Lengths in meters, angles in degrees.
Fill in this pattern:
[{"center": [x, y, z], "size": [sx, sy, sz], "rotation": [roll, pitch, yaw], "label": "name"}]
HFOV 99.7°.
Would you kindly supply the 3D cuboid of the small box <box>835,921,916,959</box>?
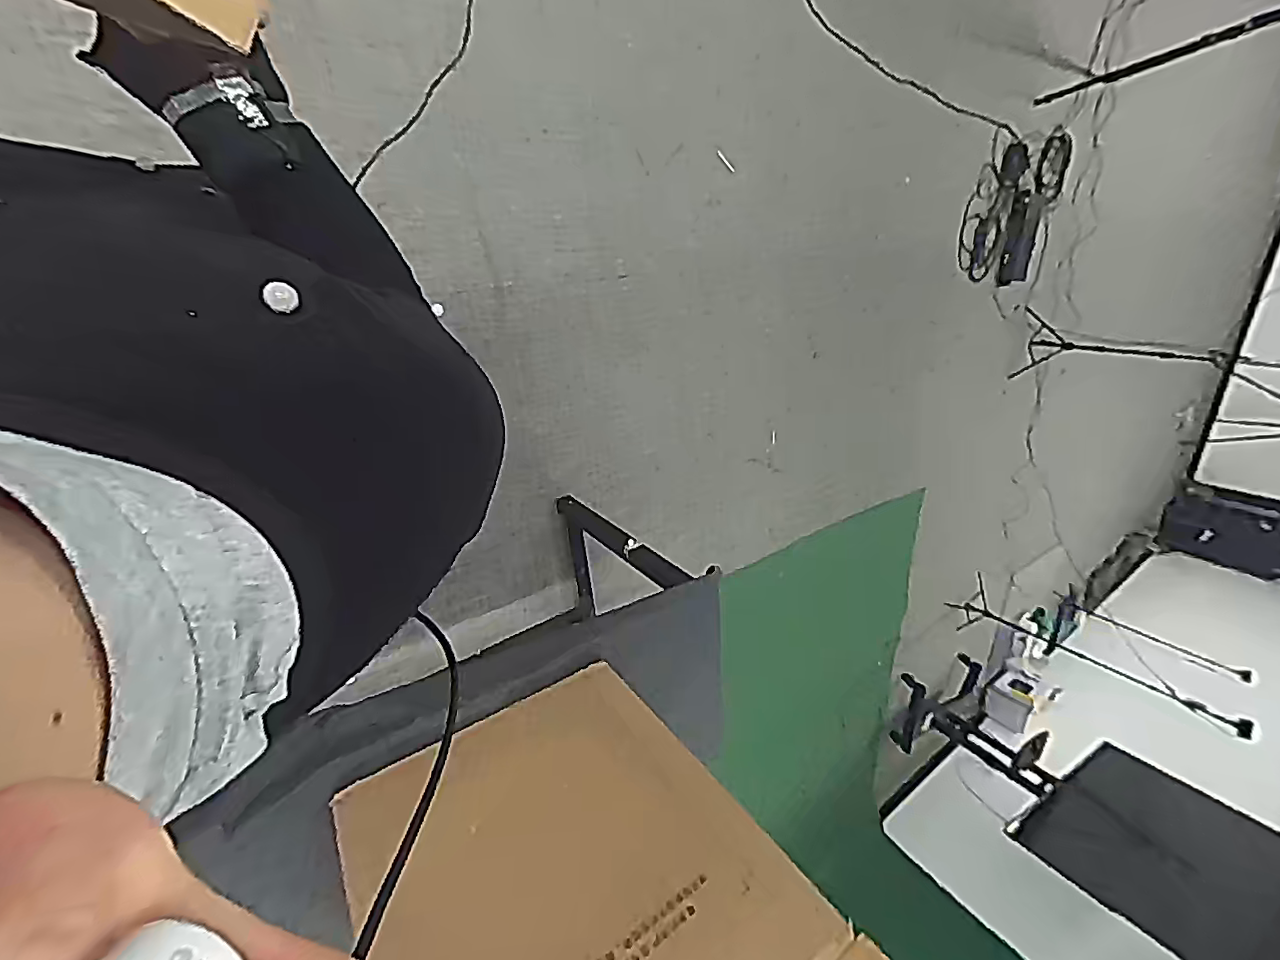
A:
[{"center": [0.300, 0.694, 0.646], "size": [0.168, 0.176, 0.179], "rotation": [-24, 118, -31], "label": "small box"}]
